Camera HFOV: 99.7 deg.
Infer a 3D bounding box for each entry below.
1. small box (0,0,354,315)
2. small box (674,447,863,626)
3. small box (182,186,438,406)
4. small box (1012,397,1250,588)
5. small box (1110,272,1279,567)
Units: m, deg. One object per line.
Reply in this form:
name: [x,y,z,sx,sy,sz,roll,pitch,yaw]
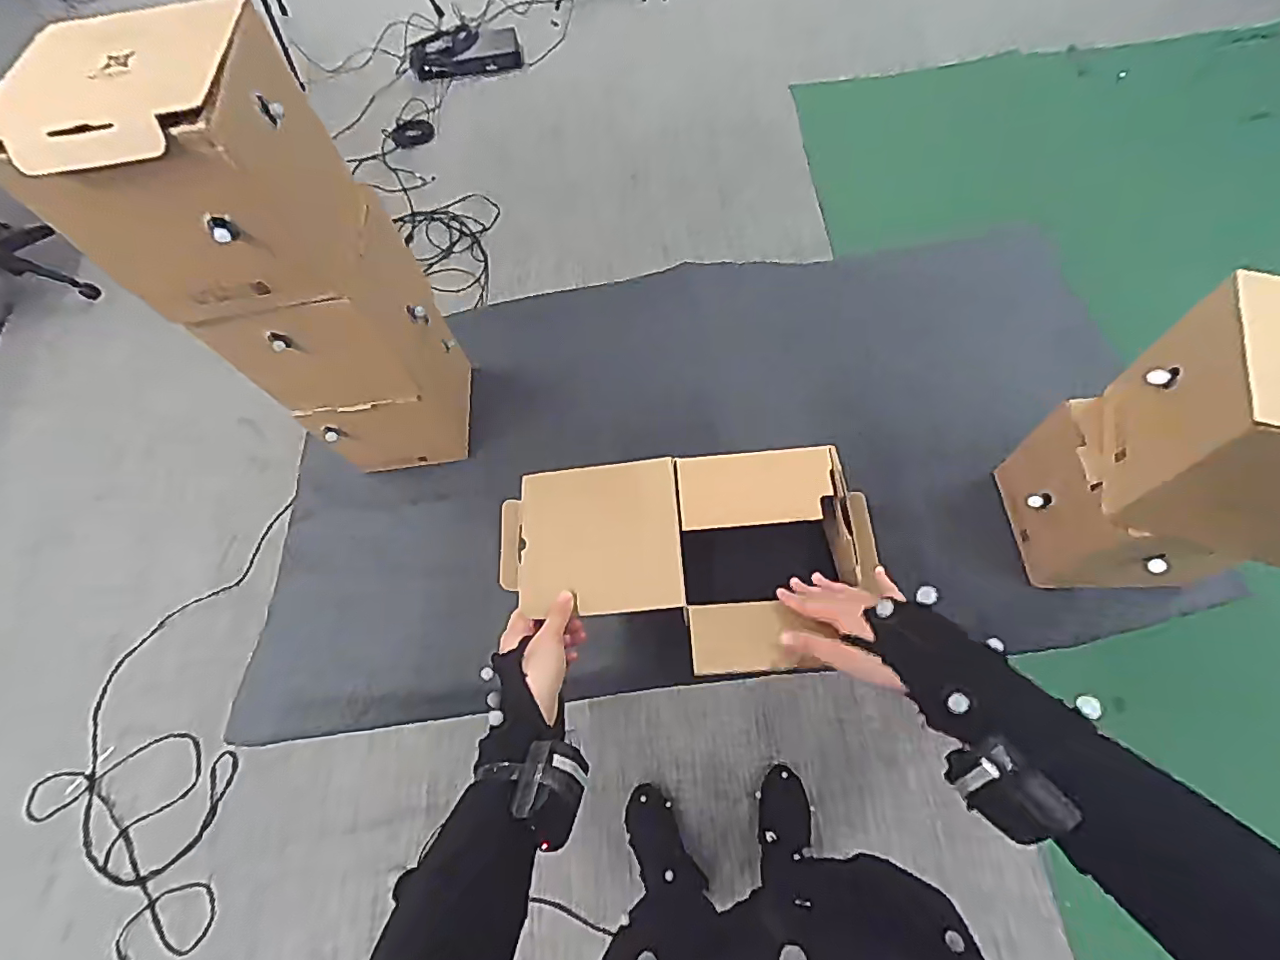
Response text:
small box: [-0.378,-0.266,0.477,0.168,0.176,0.179,-10,64,-1]
small box: [0.135,0.075,0.629,0.179,0.176,0.168,-6,68,6]
small box: [-0.357,-0.200,0.624,0.179,0.176,0.168,-6,66,2]
small box: [0.560,0.020,0.613,0.179,0.176,0.168,-2,62,6]
small box: [0.550,-0.041,0.460,0.179,0.176,0.168,18,65,14]
